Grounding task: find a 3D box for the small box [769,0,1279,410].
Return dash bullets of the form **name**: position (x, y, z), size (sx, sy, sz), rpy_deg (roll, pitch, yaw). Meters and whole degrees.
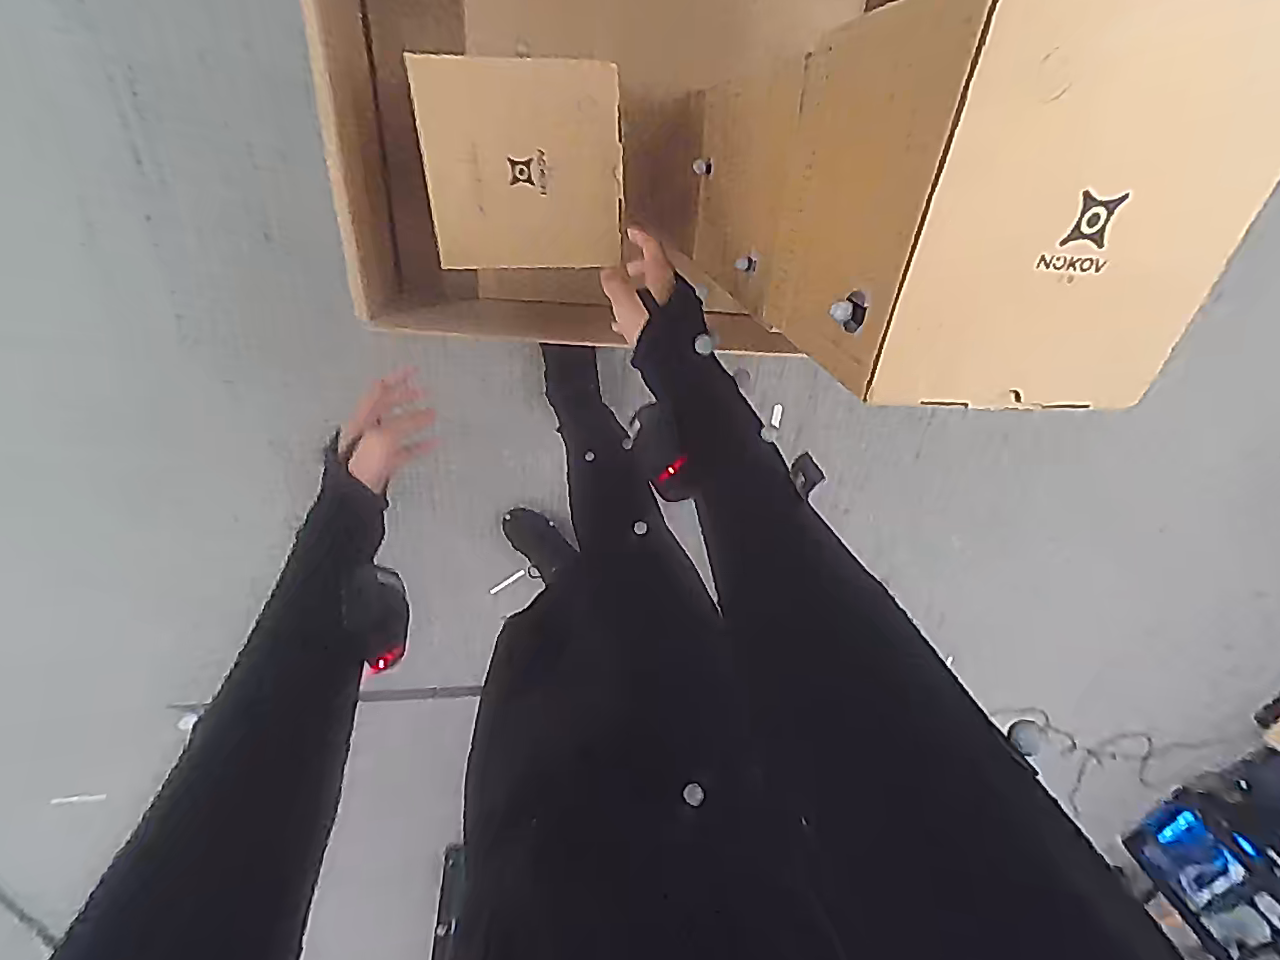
- **small box**: position (0.188, -0.154, 0.307), size (0.168, 0.176, 0.179), rpy_deg (0, 123, -8)
